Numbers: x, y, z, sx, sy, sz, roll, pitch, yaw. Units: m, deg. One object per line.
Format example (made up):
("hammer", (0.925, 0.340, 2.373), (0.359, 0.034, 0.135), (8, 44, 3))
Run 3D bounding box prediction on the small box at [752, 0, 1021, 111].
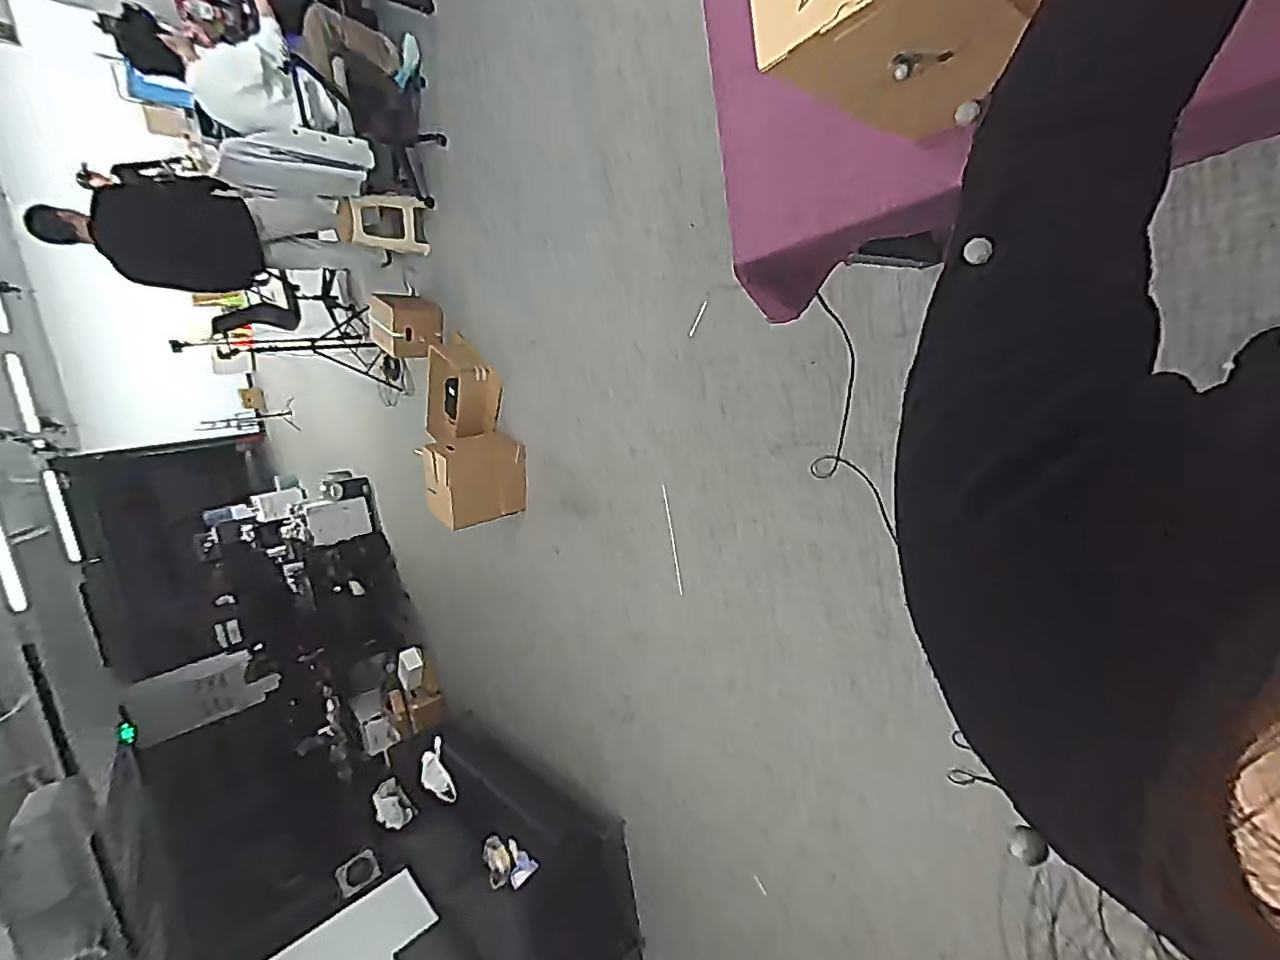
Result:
("small box", (0.210, -0.464, 0.468), (0.168, 0.176, 0.179), (2, 104, 49))
